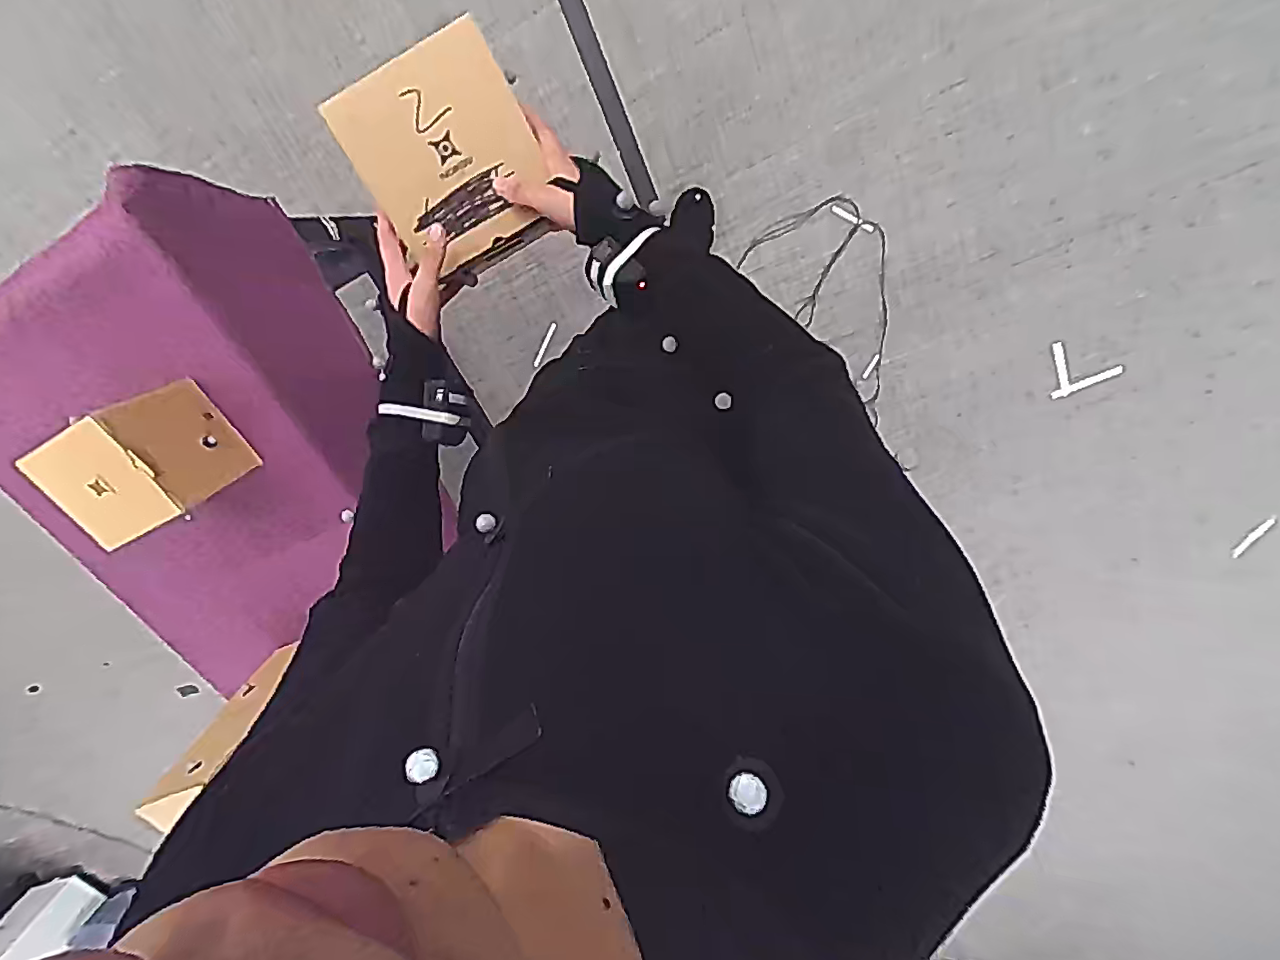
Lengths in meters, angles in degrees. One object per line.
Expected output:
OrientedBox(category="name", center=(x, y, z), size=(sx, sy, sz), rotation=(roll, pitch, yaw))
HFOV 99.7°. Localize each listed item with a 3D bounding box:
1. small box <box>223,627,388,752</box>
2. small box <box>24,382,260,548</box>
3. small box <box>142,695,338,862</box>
OrientedBox(category="small box", center=(-0.638, 0.419, 1.055), size=(0.179, 0.176, 0.168), rotation=(-22, 113, 15))
OrientedBox(category="small box", center=(-0.753, -0.028, 0.840), size=(0.179, 0.176, 0.168), rotation=(-23, 113, 15))
OrientedBox(category="small box", center=(-0.650, 0.494, 0.909), size=(0.179, 0.176, 0.168), rotation=(-25, 112, 17))
